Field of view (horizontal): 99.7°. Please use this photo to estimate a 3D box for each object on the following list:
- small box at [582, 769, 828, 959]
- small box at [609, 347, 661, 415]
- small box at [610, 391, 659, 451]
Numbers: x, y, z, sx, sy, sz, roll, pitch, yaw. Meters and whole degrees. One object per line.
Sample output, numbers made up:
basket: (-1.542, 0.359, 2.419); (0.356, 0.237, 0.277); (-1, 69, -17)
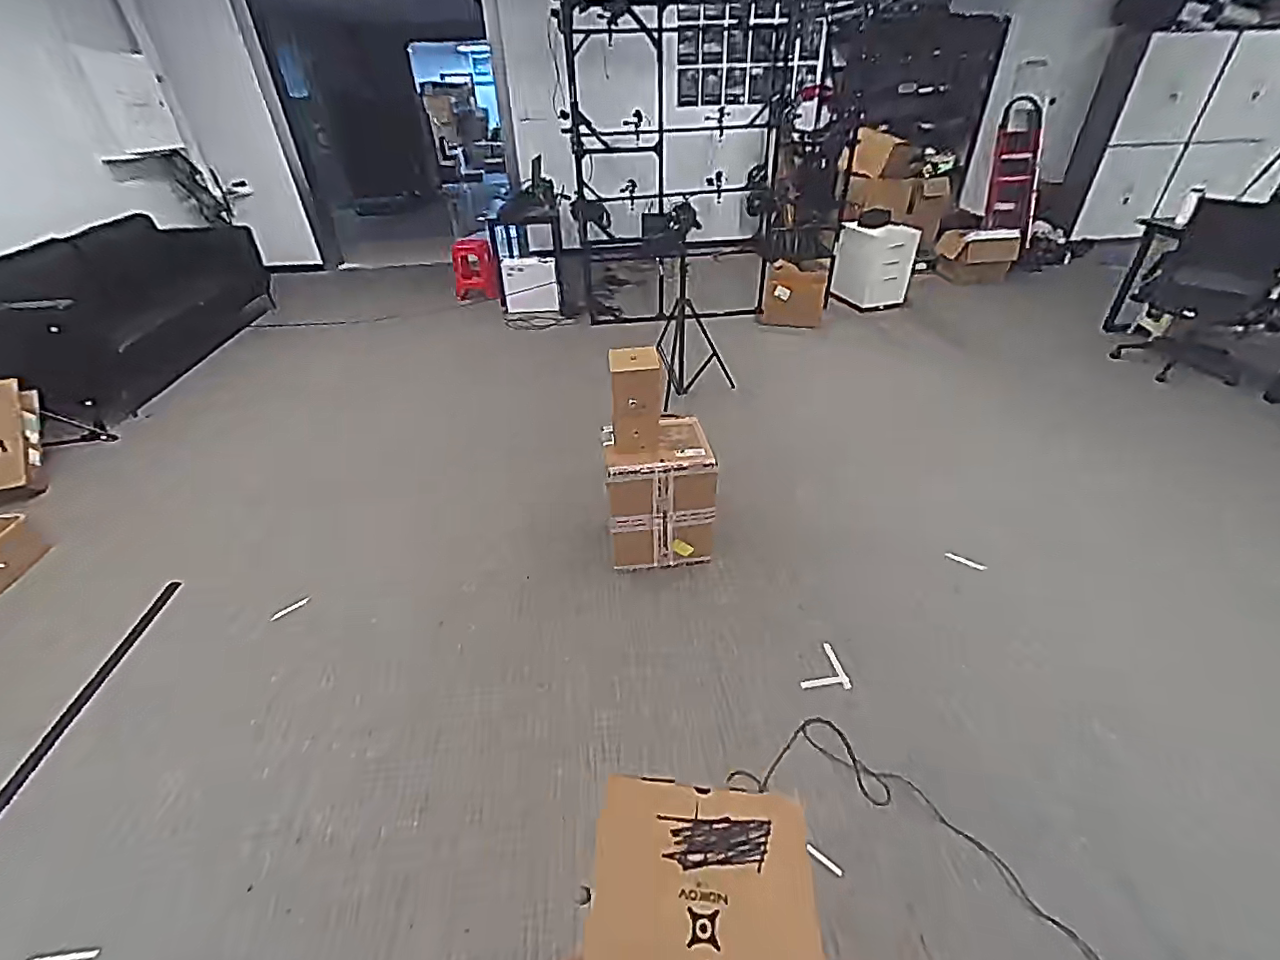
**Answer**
small box: (0.040, 0.367, 0.432); (0.168, 0.176, 0.179); (7, 38, 0)
small box: (-0.018, -0.342, 1.867); (0.168, 0.176, 0.179); (-6, 39, -1)
small box: (-0.020, -0.216, 1.972); (0.168, 0.176, 0.179); (-5, 38, -2)
